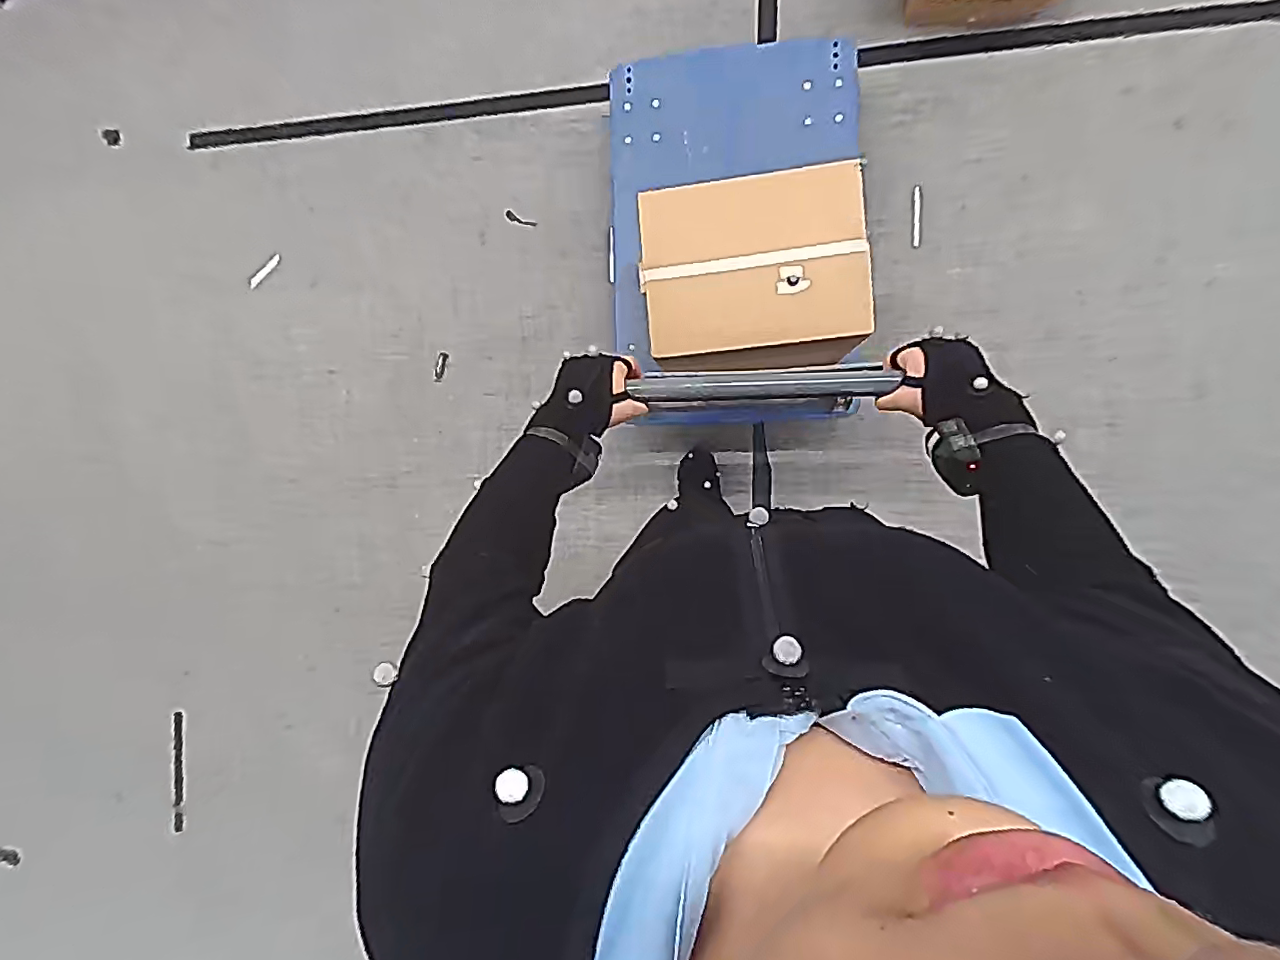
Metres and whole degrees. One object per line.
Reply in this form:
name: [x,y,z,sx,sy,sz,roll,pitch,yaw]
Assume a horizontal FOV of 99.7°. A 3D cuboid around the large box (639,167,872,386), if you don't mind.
large box: [0.225,-0.397,1.147,0.408,0.320,0.320,-5,91,6]
